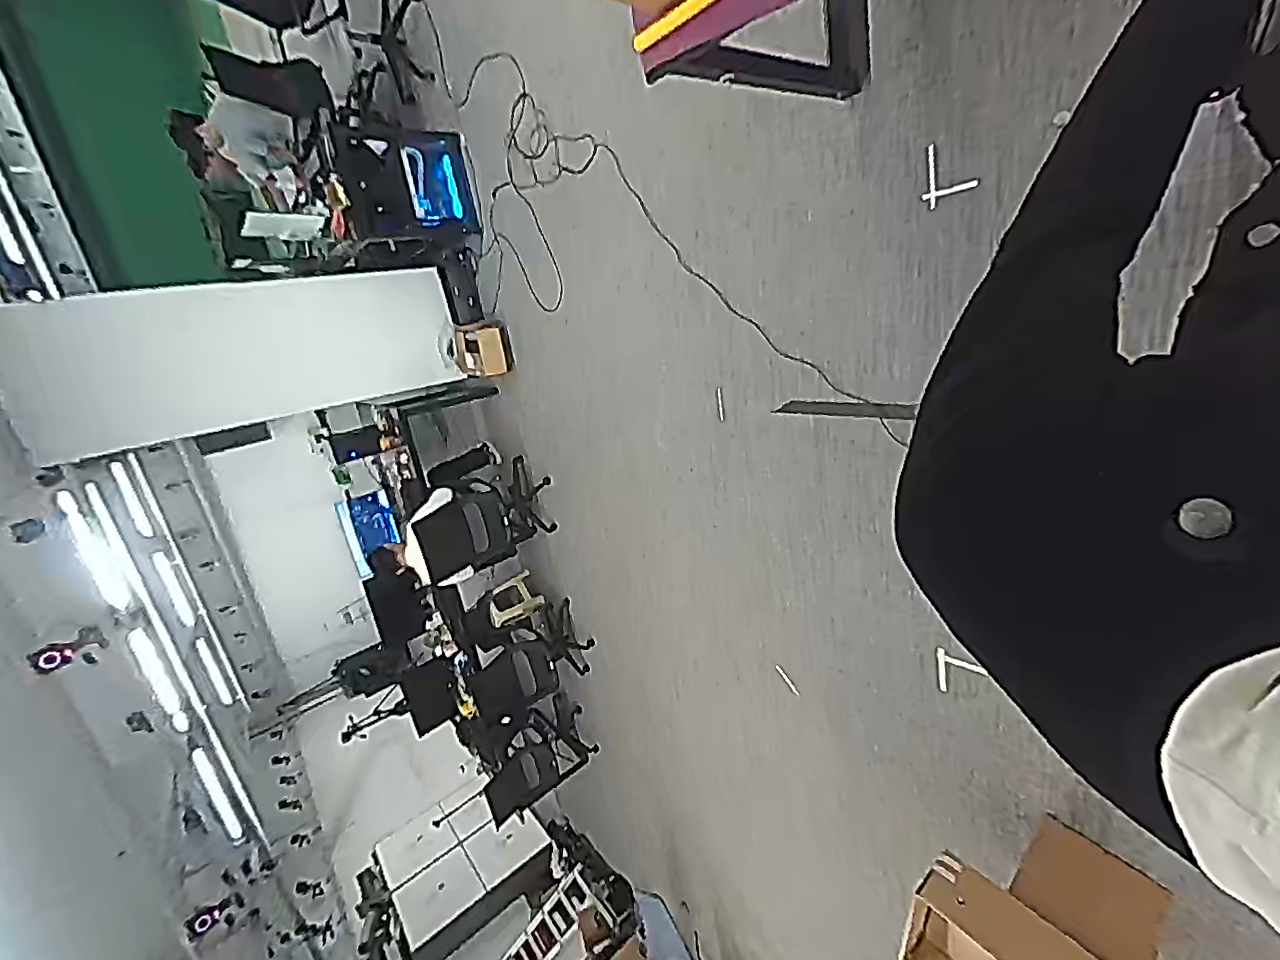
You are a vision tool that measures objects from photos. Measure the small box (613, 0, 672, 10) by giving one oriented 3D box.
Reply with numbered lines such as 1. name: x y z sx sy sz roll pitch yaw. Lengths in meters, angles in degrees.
1. small box: 0.018 -0.962 0.930 0.179 0.176 0.168 11 116 49
